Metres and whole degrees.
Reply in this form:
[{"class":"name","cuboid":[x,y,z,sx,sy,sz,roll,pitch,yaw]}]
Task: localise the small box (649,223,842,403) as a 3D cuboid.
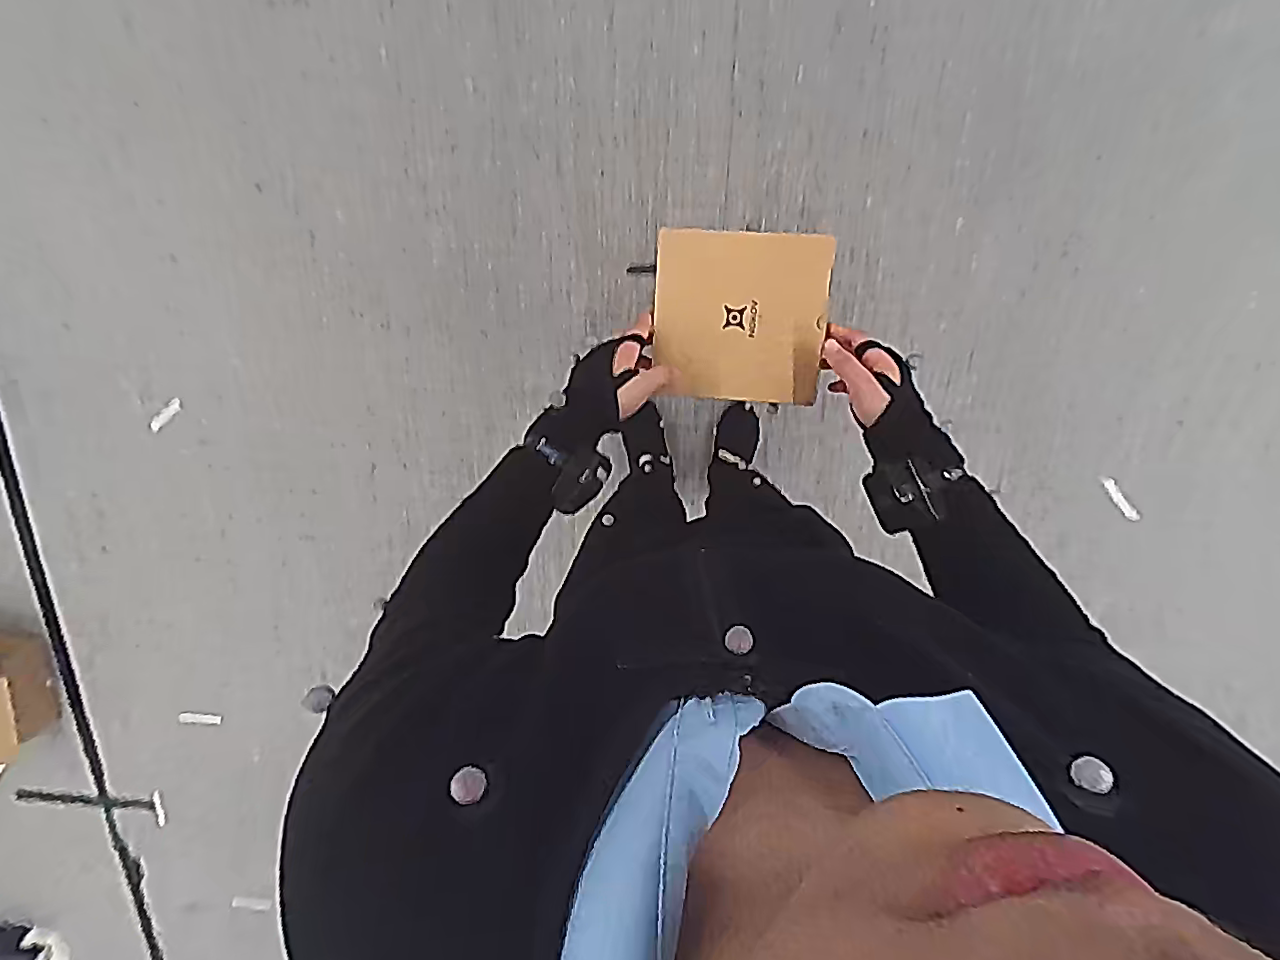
[{"class":"small box","cuboid":[0.108,-0.180,0.607,0.179,0.176,0.168,4,104,5]}]
